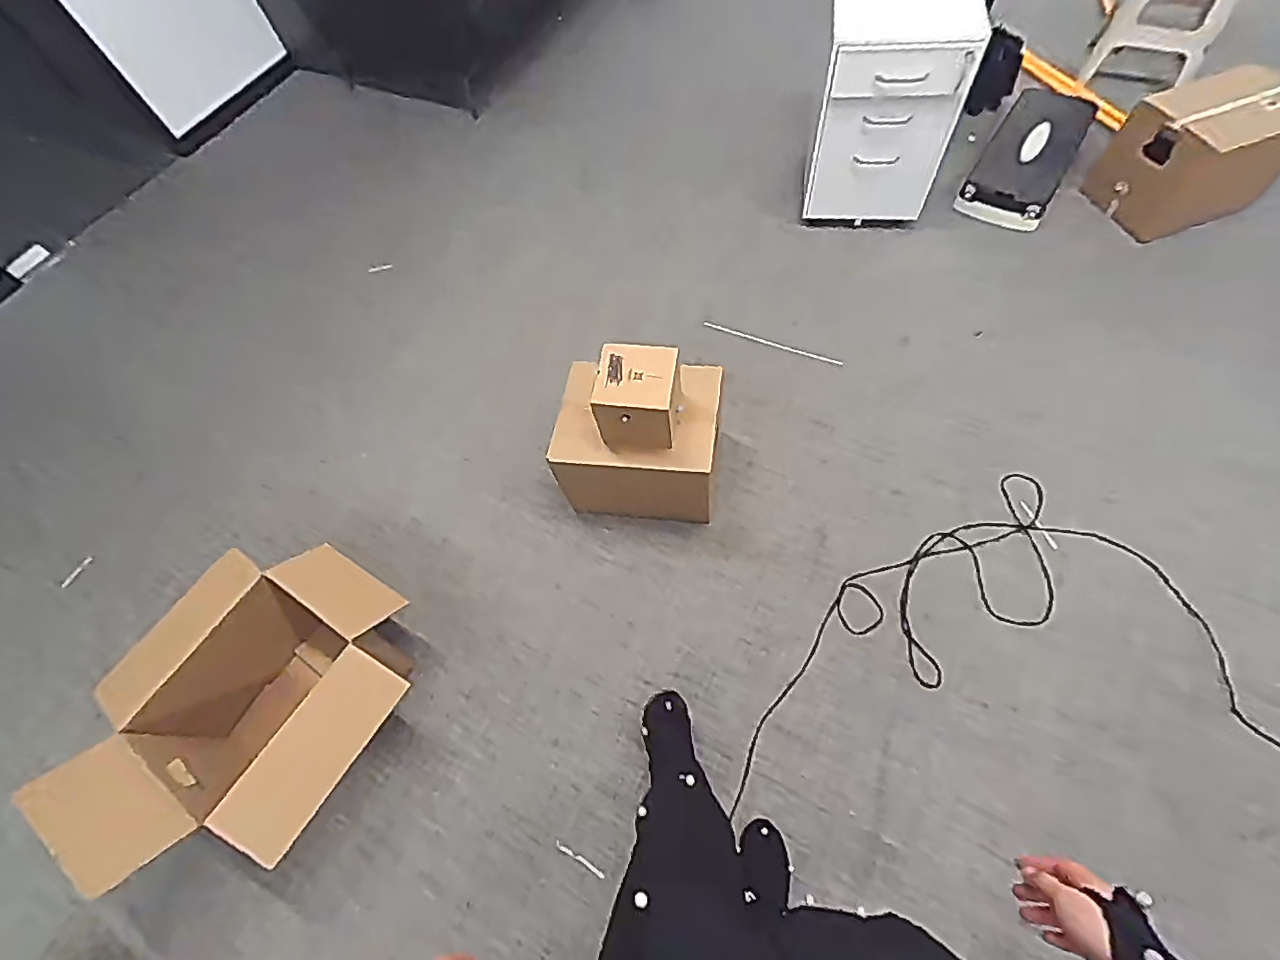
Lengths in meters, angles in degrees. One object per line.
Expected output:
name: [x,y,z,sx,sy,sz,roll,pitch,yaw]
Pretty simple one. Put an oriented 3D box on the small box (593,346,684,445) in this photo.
small box: [0.003,-0.194,1.275,0.179,0.176,0.168,6,66,10]
